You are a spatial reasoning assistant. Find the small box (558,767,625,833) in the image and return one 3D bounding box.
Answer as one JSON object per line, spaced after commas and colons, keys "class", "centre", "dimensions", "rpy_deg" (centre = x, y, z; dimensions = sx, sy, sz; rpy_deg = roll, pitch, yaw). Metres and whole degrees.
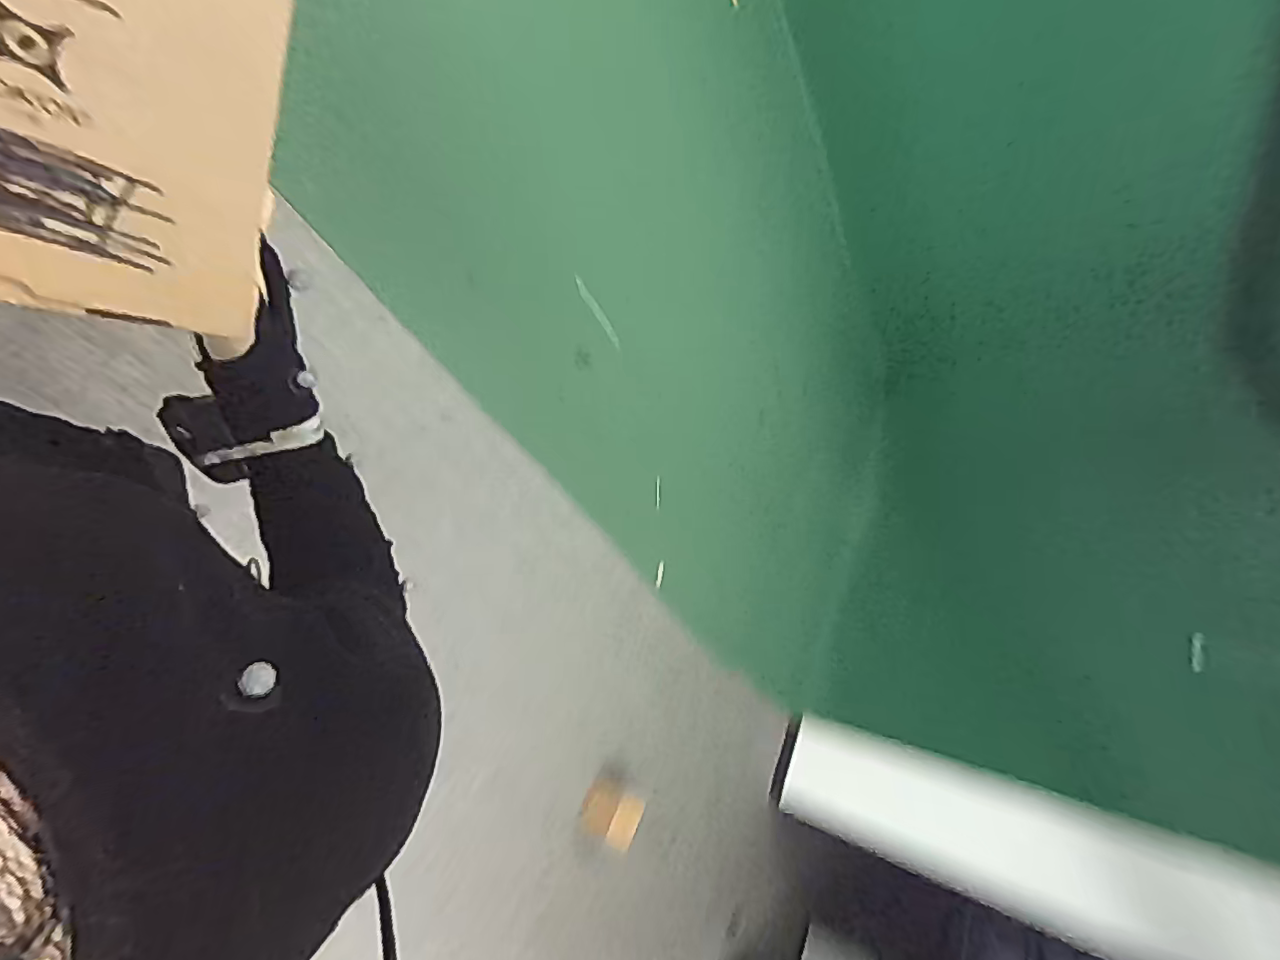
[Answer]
{"class": "small box", "centre": [-0.199, 1.298, 2.200], "dimensions": [0.179, 0.176, 0.168], "rpy_deg": [53, 53, -38]}
